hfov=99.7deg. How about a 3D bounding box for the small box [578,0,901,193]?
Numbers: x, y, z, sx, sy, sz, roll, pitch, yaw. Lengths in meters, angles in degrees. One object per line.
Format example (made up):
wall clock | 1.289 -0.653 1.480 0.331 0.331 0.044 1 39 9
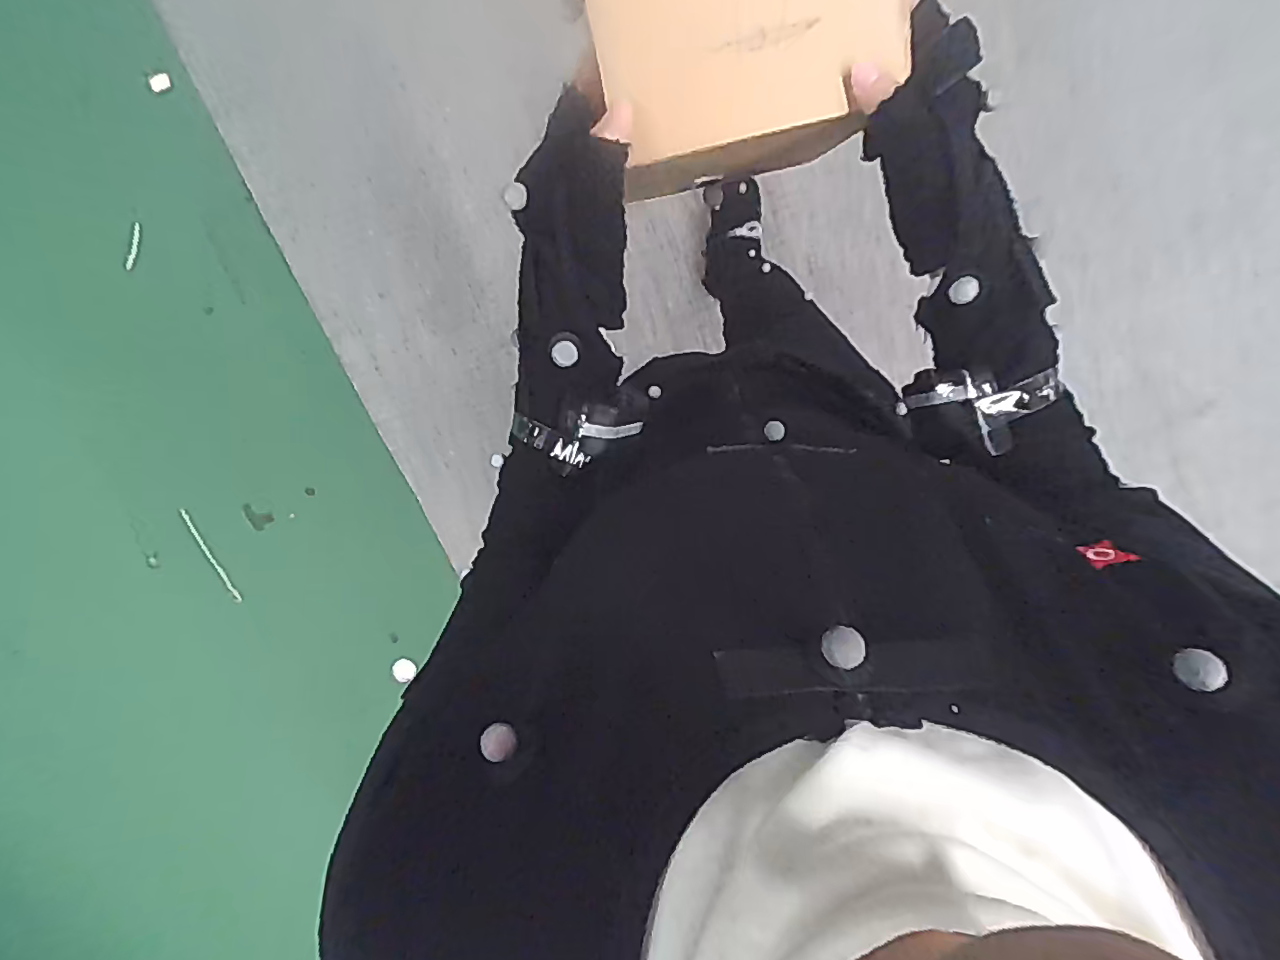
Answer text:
small box | 0.046 -0.308 0.350 0.168 0.176 0.179 -12 111 3
